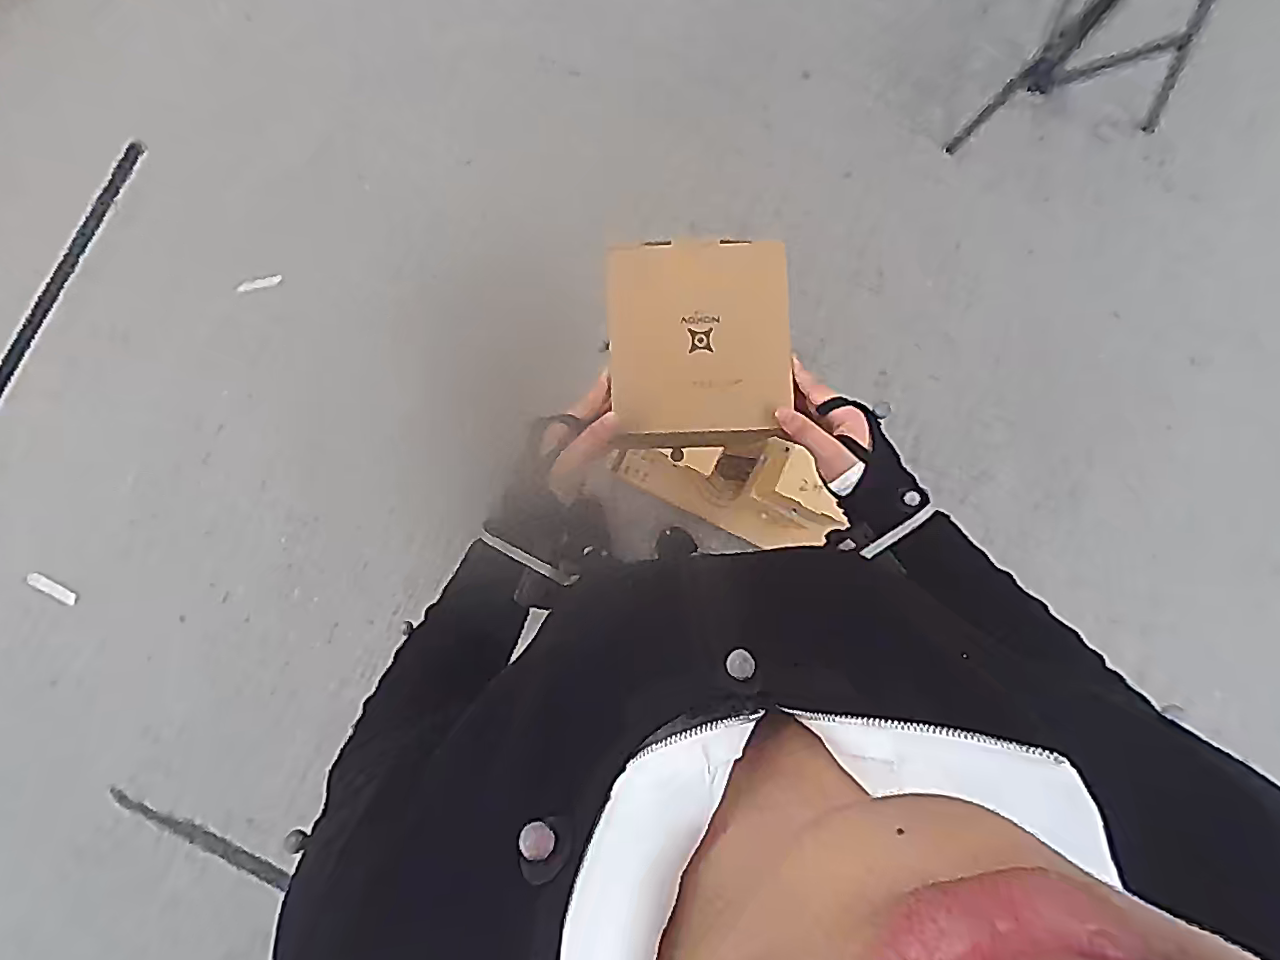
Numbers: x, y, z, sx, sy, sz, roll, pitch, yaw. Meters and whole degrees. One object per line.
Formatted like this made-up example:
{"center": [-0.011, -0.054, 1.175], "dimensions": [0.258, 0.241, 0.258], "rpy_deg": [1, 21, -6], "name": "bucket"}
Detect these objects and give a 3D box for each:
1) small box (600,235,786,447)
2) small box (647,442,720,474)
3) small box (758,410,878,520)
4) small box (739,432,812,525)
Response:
{"center": [0.044, -0.132, 0.568], "dimensions": [0.168, 0.176, 0.179], "rpy_deg": [-4, 90, -2], "name": "small box"}
{"center": [0.120, -0.126, 1.336], "dimensions": [0.168, 0.176, 0.179], "rpy_deg": [28, 88, 2], "name": "small box"}
{"center": [0.373, -0.026, 1.167], "dimensions": [0.168, 0.176, 0.179], "rpy_deg": [26, 87, 2], "name": "small box"}
{"center": [0.360, -0.004, 1.332], "dimensions": [0.168, 0.176, 0.179], "rpy_deg": [30, 87, 2], "name": "small box"}
